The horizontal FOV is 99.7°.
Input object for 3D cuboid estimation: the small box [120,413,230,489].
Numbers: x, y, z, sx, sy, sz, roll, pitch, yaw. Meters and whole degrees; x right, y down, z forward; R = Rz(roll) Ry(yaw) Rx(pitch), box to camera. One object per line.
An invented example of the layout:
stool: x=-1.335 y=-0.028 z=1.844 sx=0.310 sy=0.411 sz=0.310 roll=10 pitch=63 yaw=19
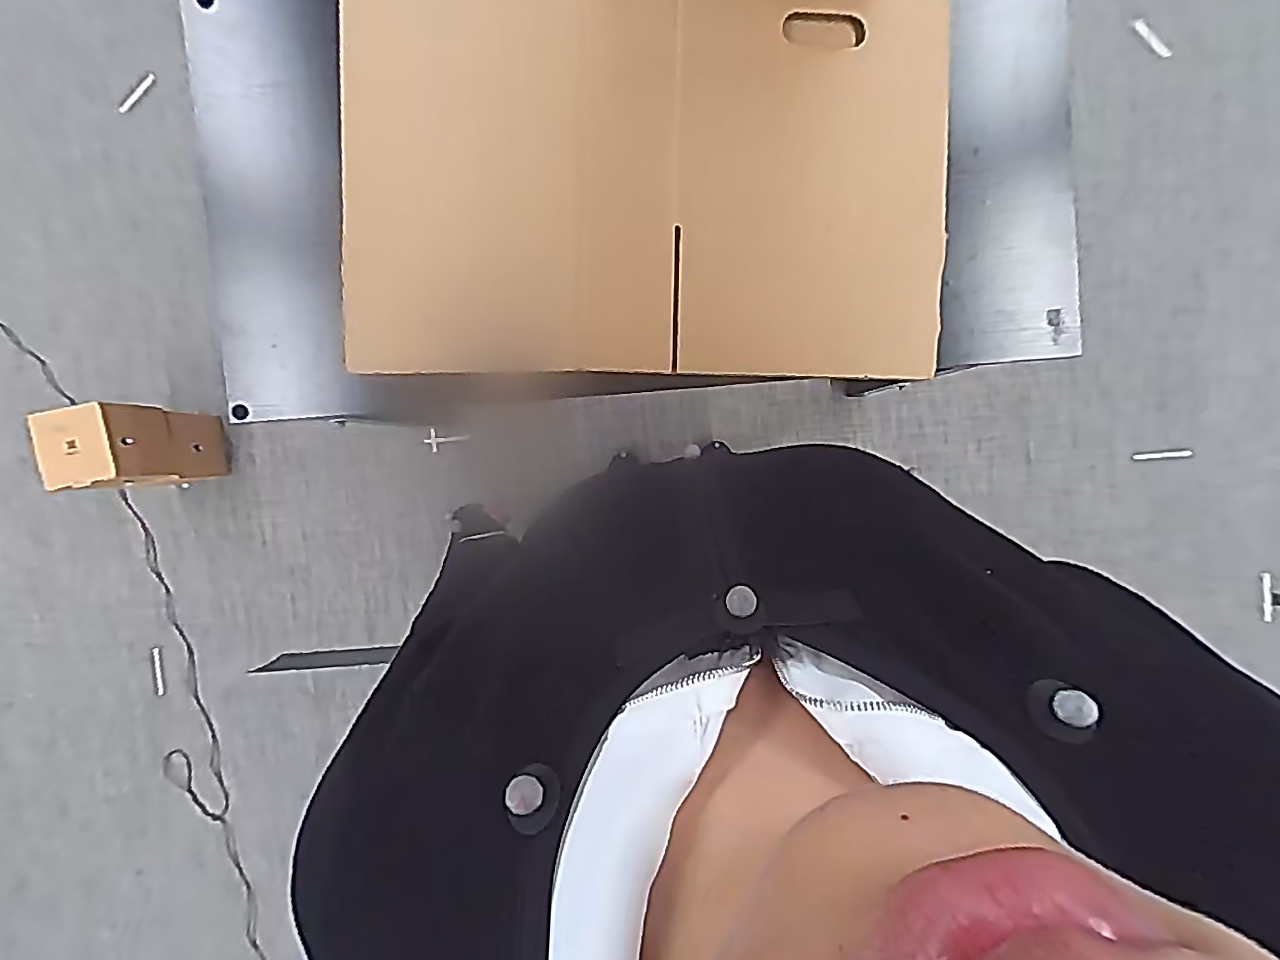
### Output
small box: x=-1.245 y=-0.077 z=1.440 sx=0.168 sy=0.176 sz=0.179 roll=-8 pitch=93 yaw=2

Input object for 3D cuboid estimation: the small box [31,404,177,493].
small box: x=-1.250 y=-0.074 z=1.277 sx=0.168 sy=0.176 sz=0.179 roll=-12 pitch=91 yaw=1
